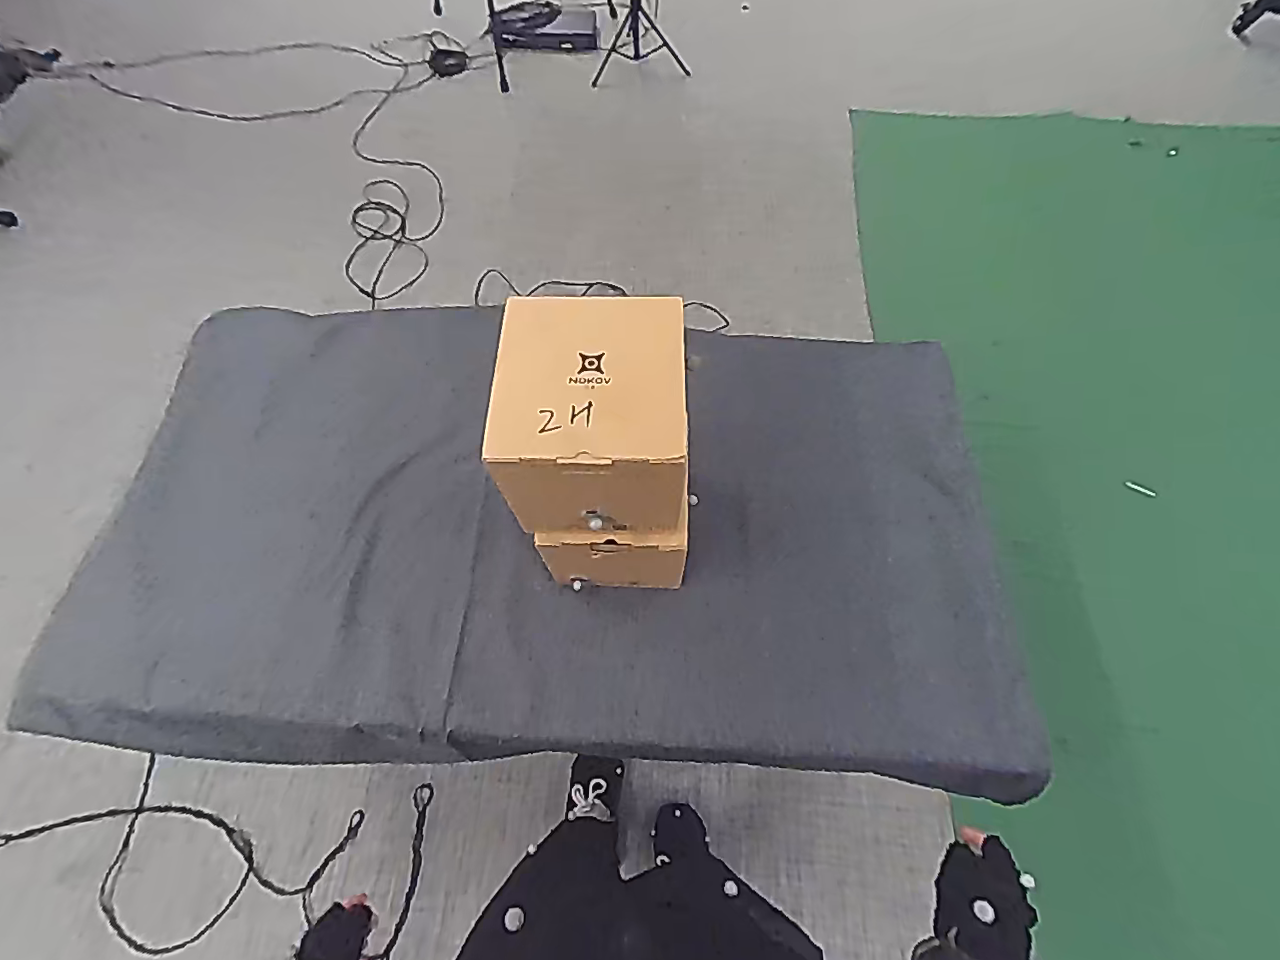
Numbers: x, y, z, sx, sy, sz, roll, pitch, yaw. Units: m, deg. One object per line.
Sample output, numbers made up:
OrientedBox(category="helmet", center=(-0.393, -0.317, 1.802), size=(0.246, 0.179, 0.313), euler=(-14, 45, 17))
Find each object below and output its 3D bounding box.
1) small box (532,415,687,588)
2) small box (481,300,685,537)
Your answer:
OrientedBox(category="small box", center=(-0.027, 0.031, 0.678), size=(0.168, 0.176, 0.179), euler=(2, 63, 2))
OrientedBox(category="small box", center=(-0.043, -0.054, 0.537), size=(0.168, 0.176, 0.179), euler=(0, 65, 2))
